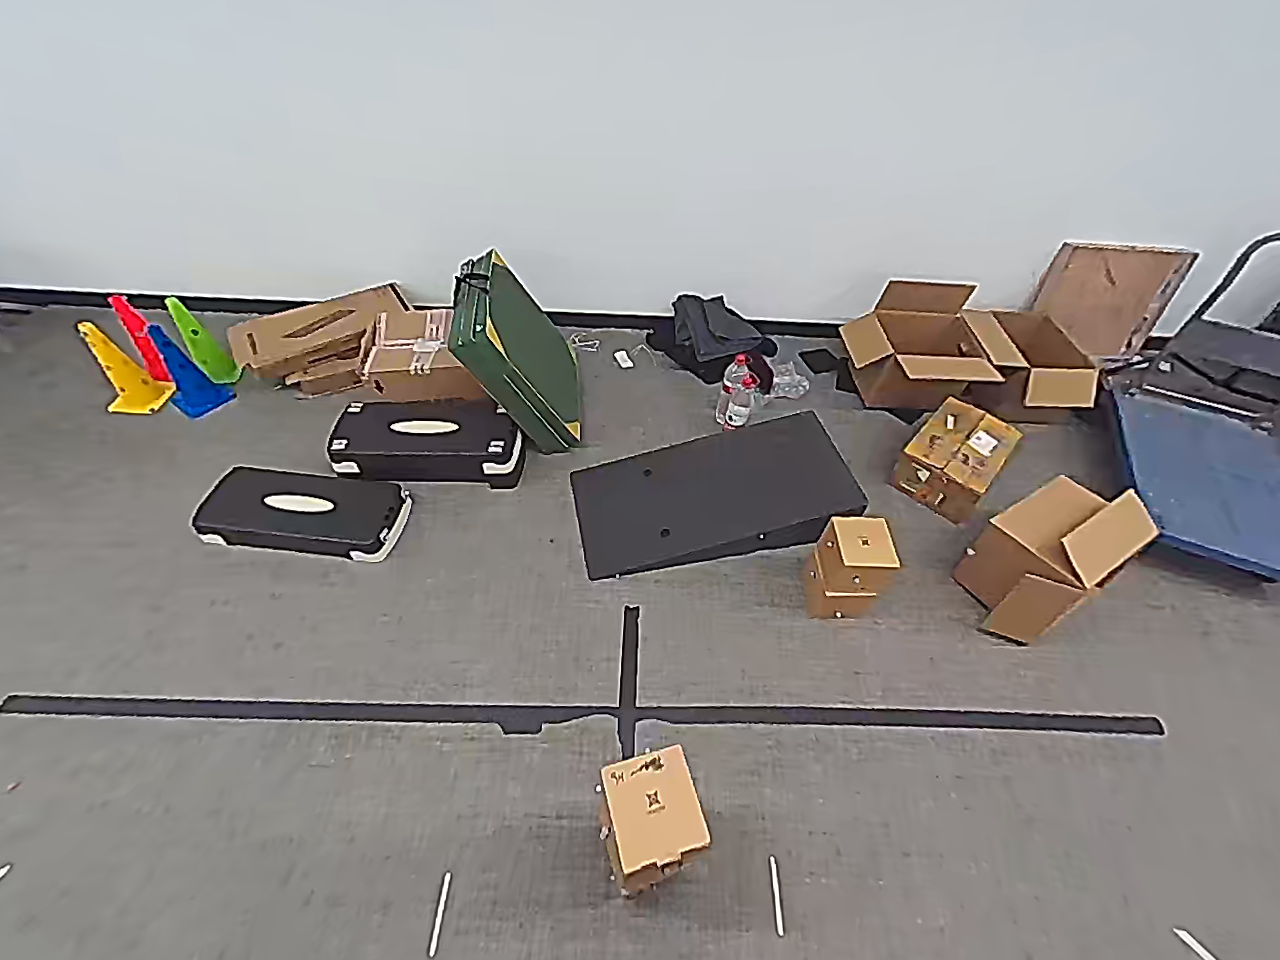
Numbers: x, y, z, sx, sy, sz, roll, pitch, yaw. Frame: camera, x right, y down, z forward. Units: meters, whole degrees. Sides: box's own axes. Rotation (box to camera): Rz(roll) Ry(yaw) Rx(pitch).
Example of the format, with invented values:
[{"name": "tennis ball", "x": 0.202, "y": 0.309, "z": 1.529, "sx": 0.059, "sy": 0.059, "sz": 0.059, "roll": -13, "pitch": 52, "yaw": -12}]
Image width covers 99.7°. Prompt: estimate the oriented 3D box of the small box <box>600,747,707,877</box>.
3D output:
[{"name": "small box", "x": 0.019, "y": 0.655, "z": 1.062, "sx": 0.168, "sy": 0.176, "sz": 0.179, "roll": -10, "pitch": 52, "yaw": -13}]
